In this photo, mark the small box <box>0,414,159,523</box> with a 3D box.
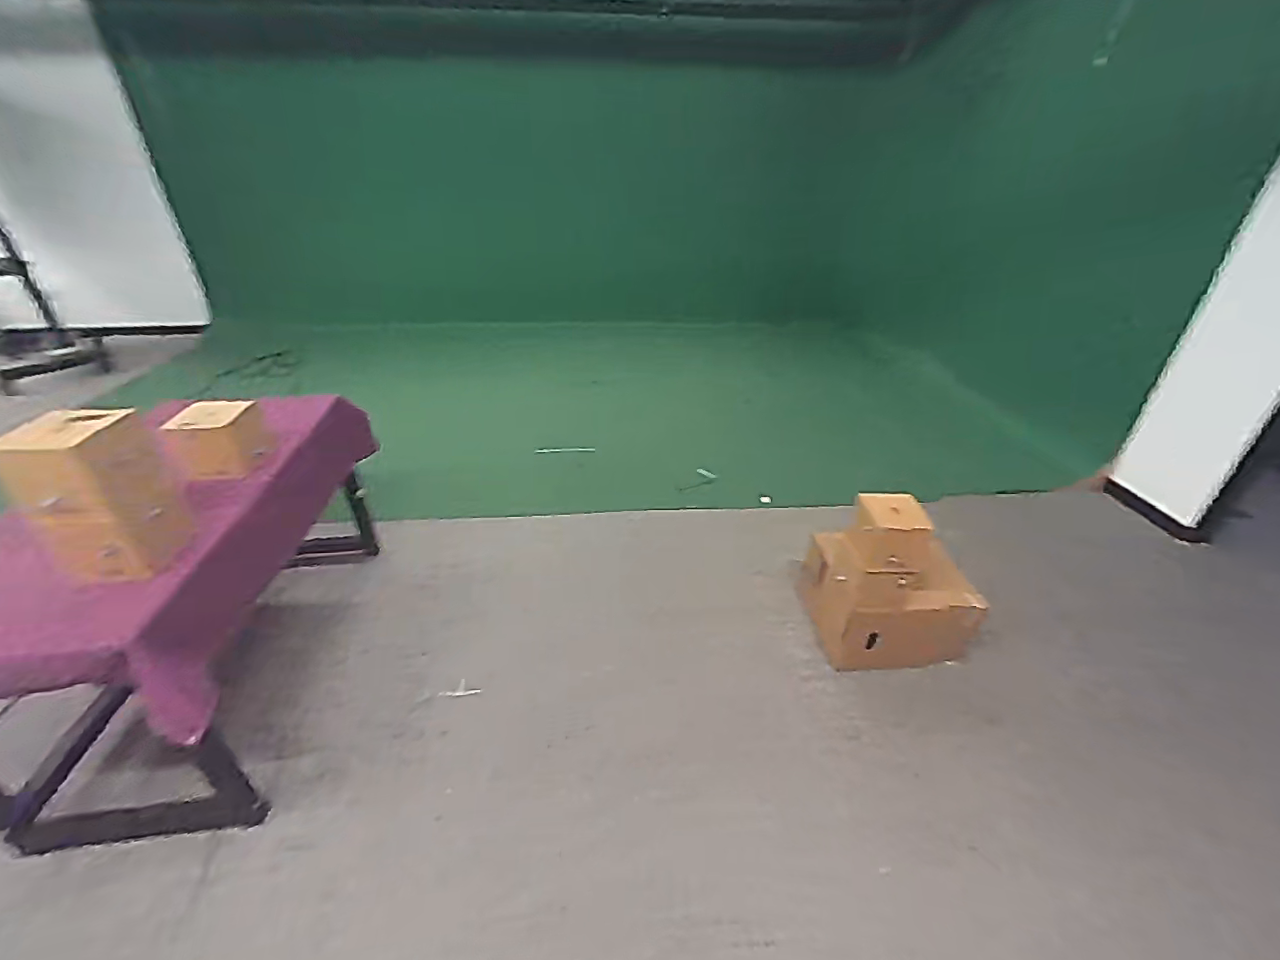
[{"bbox_3d":[-1.163,-0.026,1.126,0.168,0.176,0.179,-2,33,-4],"label":"small box"}]

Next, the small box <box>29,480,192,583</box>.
[{"bbox_3d":[-1.162,0.116,1.208,0.168,0.176,0.179,-1,31,-4],"label":"small box"}]

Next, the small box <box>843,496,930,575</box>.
[{"bbox_3d":[0.742,0.168,1.653,0.168,0.176,0.179,1,33,-3],"label":"small box"}]

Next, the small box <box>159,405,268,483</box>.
[{"bbox_3d":[-1.217,-0.105,1.563,0.168,0.176,0.179,-3,31,-4],"label":"small box"}]

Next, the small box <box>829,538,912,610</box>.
[{"bbox_3d":[0.734,0.305,1.742,0.179,0.176,0.168,0,32,-3],"label":"small box"}]
